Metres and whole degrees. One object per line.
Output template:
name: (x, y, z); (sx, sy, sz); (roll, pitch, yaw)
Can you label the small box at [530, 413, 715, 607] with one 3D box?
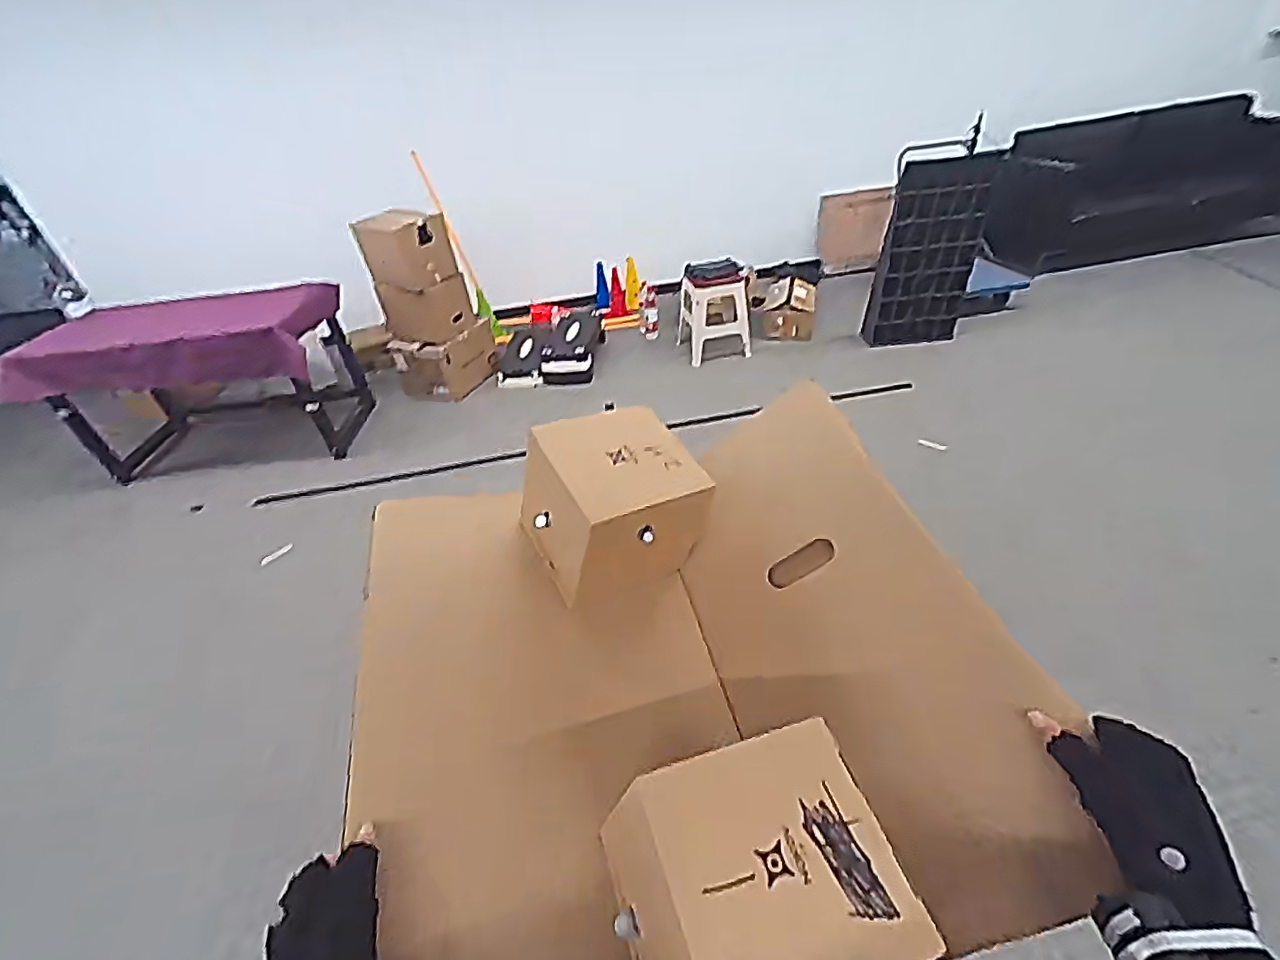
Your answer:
small box: (-0.036, 0.038, 0.708); (0.179, 0.176, 0.168); (-15, 51, -30)
